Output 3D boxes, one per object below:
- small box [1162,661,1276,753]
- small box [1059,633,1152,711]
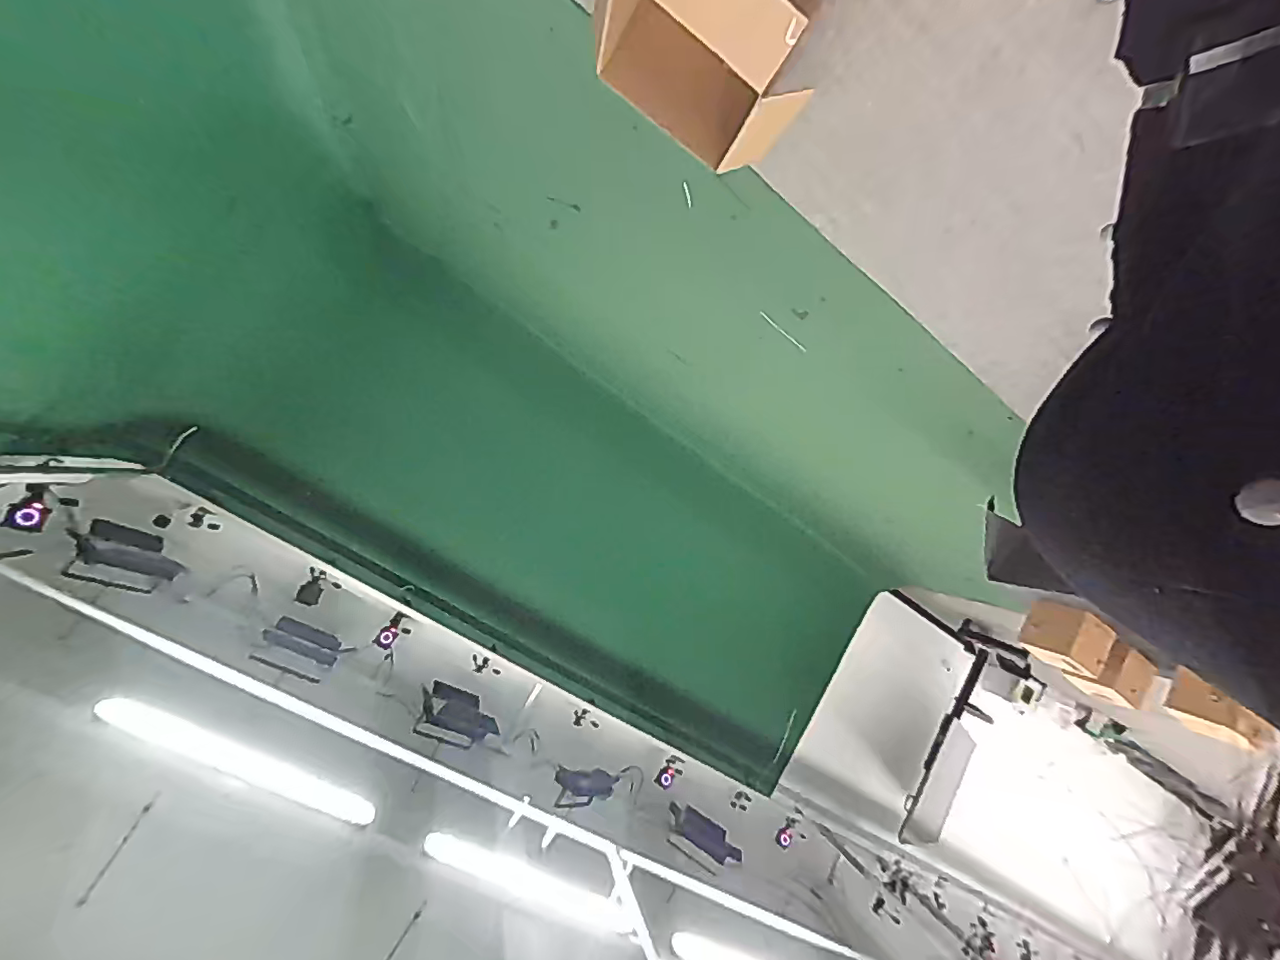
[{"bbox_3d":[1.720,0.665,1.607,0.179,0.176,0.168,35,170,-18],"label":"small box"},{"bbox_3d":[1.623,0.661,1.879,0.179,0.176,0.168,36,169,-18],"label":"small box"}]
